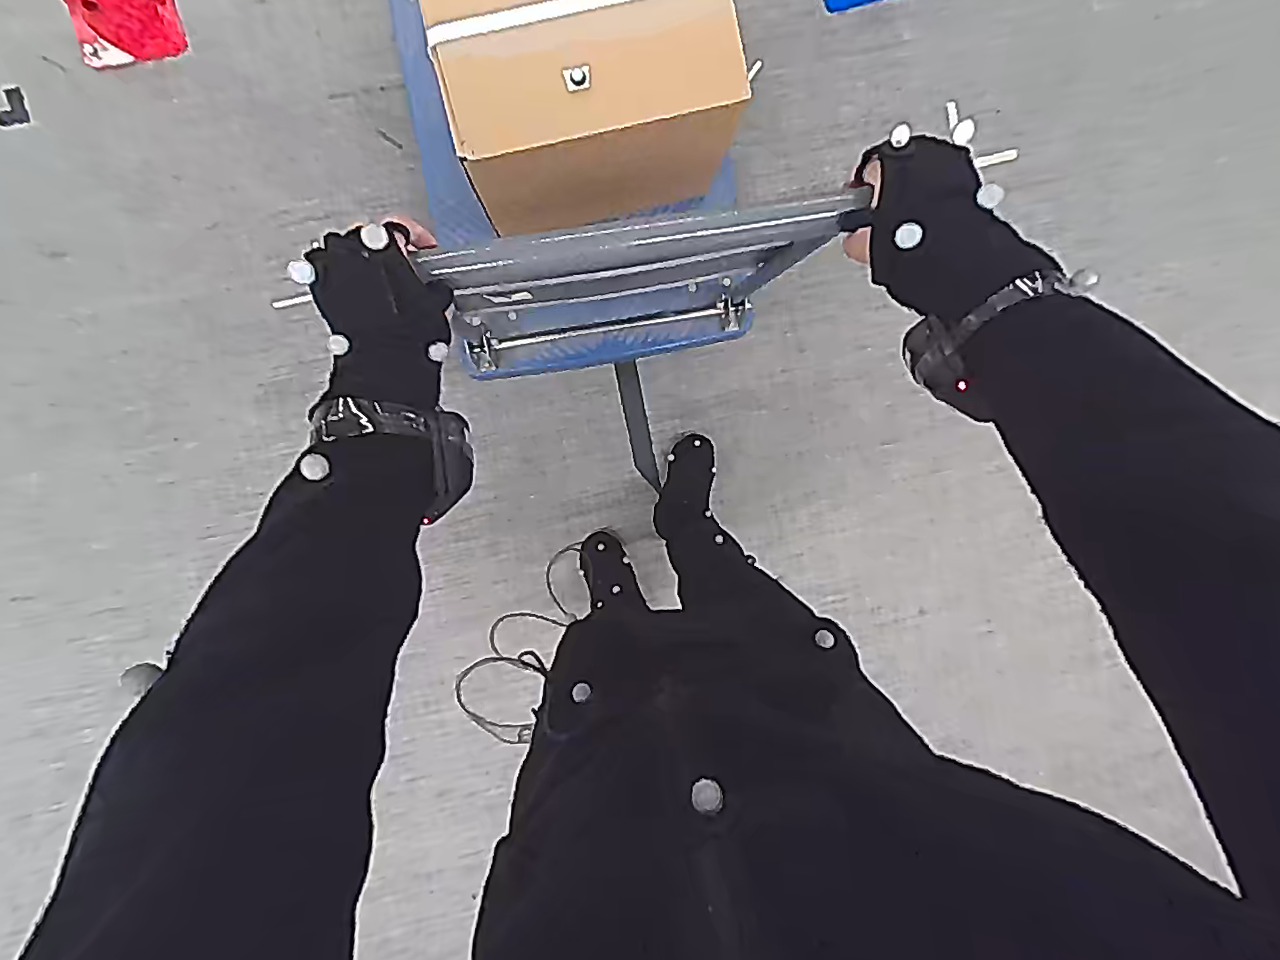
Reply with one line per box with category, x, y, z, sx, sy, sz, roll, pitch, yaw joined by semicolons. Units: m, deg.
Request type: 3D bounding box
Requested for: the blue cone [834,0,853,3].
blue cone;0.496;-1.153;1.031;0.193;0.380;0.192;-16;95;-4
